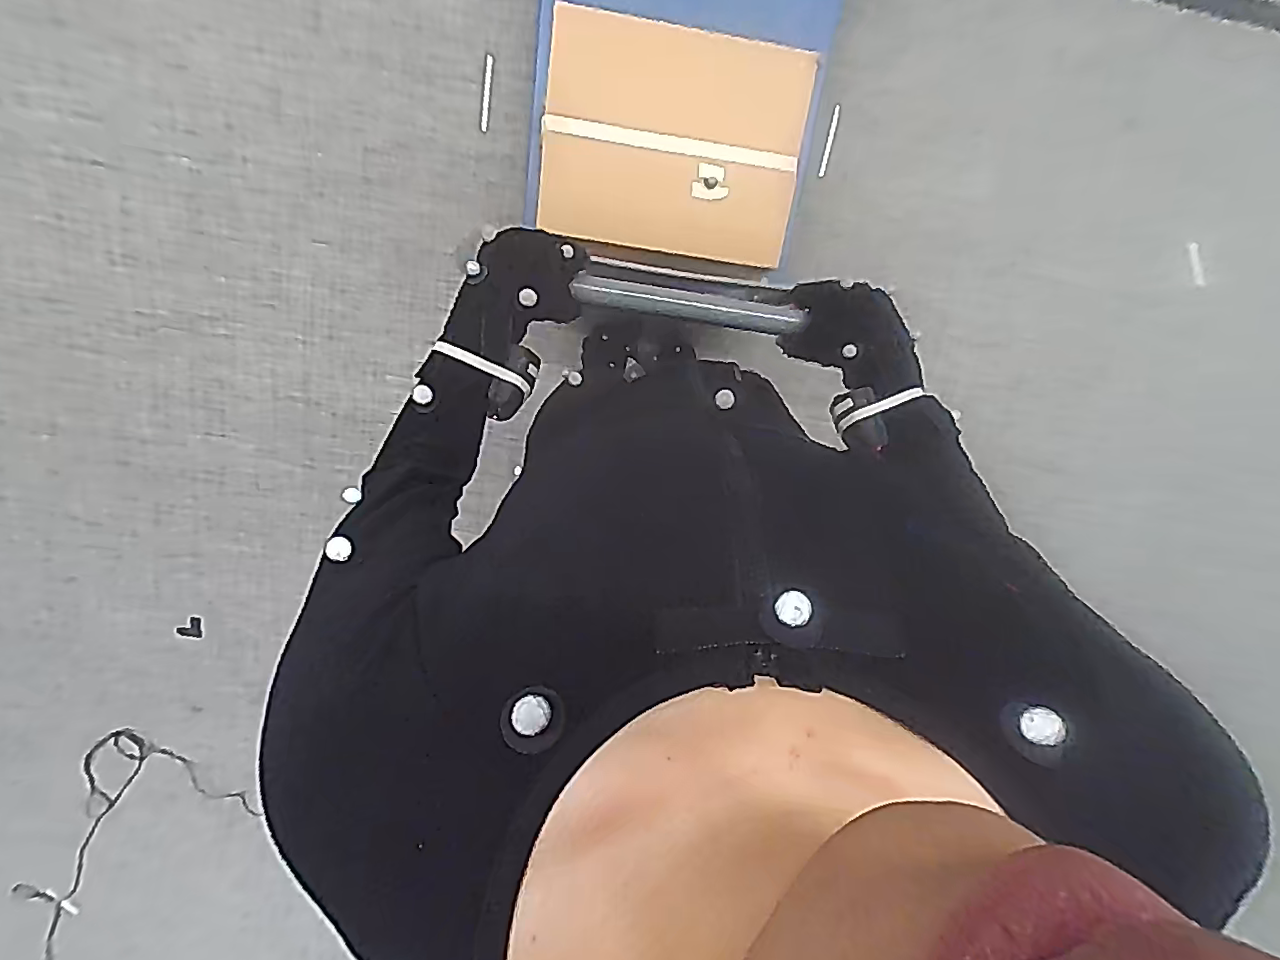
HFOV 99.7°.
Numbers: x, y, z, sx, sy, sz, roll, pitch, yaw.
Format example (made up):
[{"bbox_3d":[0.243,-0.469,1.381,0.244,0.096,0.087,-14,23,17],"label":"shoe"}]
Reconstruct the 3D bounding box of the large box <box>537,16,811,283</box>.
[{"bbox_3d":[0.037,-0.556,0.988,0.408,0.320,0.320,7,107,-5],"label":"large box"}]
